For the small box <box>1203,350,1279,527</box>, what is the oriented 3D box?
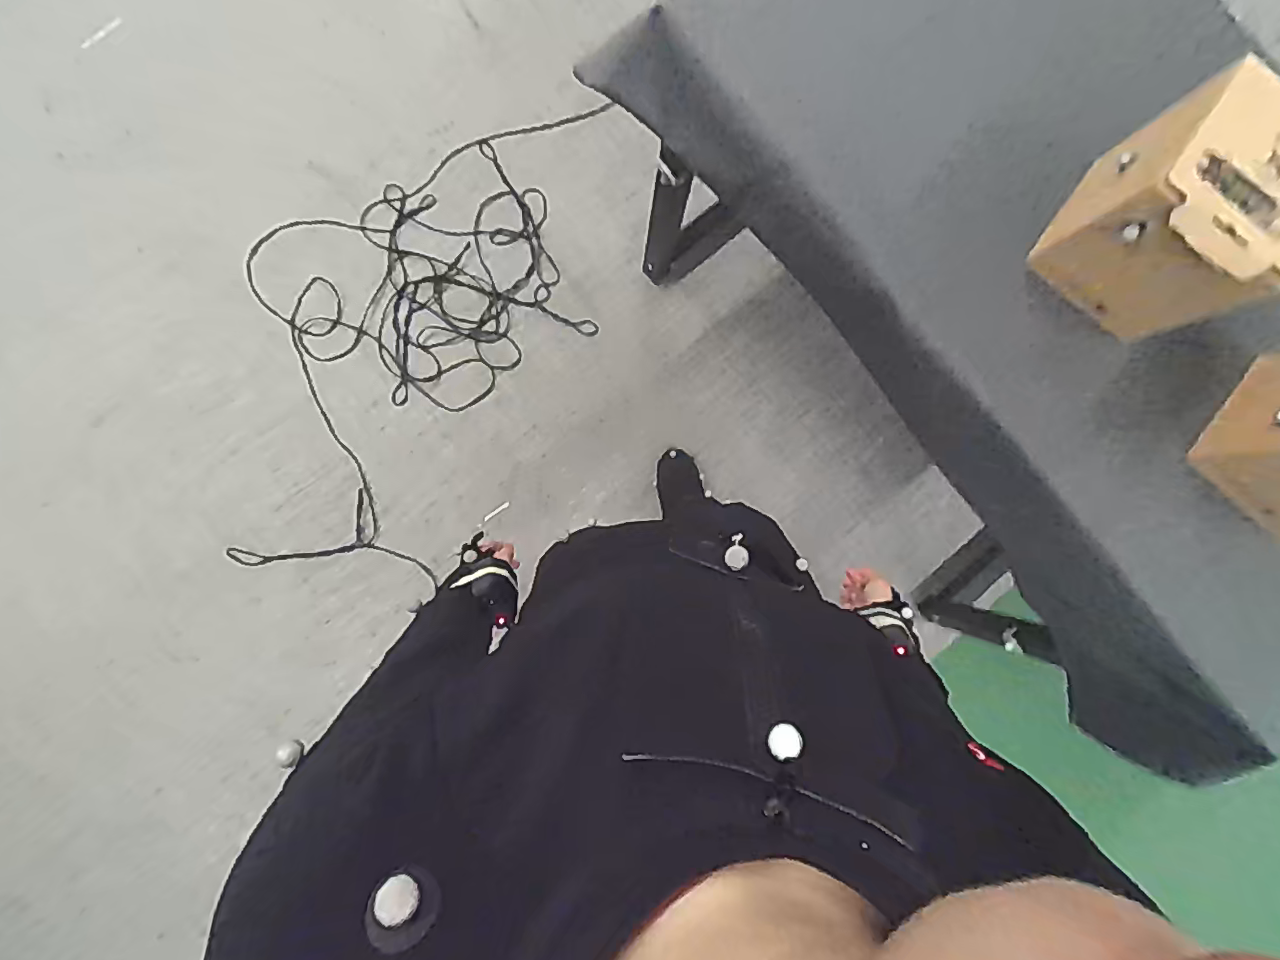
[{"bbox_3d":[0.803,-0.051,0.601,0.168,0.176,0.179,40,84,-2],"label":"small box"}]
